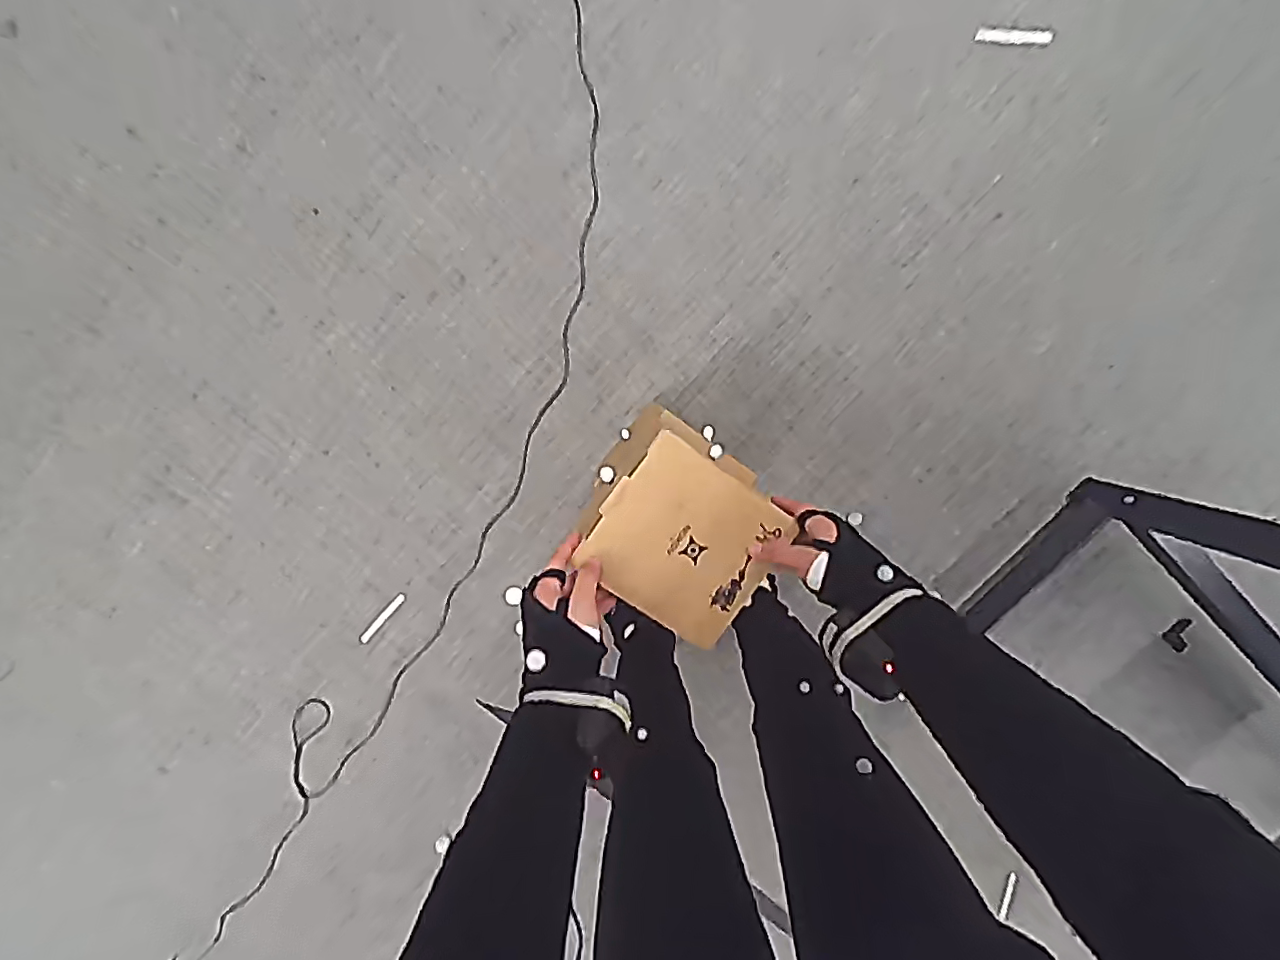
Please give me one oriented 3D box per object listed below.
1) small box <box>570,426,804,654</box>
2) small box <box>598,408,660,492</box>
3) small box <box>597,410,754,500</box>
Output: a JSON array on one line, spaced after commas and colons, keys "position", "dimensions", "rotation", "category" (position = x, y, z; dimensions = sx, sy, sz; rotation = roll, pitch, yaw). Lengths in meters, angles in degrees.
[{"position": [0.042, 0.053, 0.607], "dimensions": [0.179, 0.176, 0.168], "rotation": [34, 96, -8], "category": "small box"}, {"position": [0.037, -0.017, 0.998], "dimensions": [0.168, 0.176, 0.179], "rotation": [38, 98, -8], "category": "small box"}, {"position": [0.045, 0.009, 0.838], "dimensions": [0.168, 0.176, 0.179], "rotation": [35, 97, -9], "category": "small box"}]
